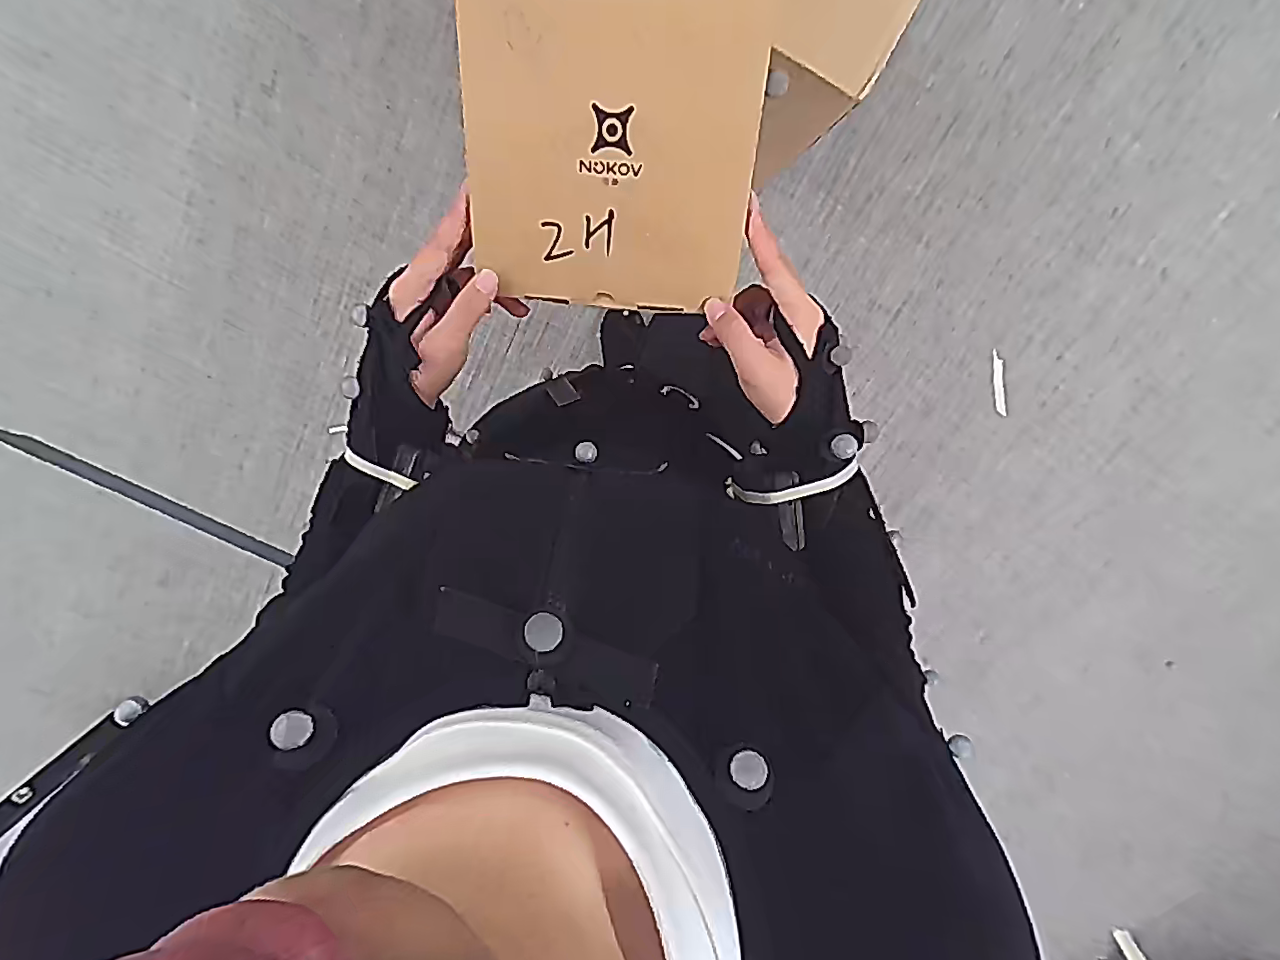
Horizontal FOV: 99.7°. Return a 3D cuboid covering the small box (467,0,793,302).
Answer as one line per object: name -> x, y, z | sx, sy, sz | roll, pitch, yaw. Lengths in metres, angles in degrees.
small box -> -0.008, -0.230, 0.364 | 0.168, 0.176, 0.179 | 6, 118, 0
